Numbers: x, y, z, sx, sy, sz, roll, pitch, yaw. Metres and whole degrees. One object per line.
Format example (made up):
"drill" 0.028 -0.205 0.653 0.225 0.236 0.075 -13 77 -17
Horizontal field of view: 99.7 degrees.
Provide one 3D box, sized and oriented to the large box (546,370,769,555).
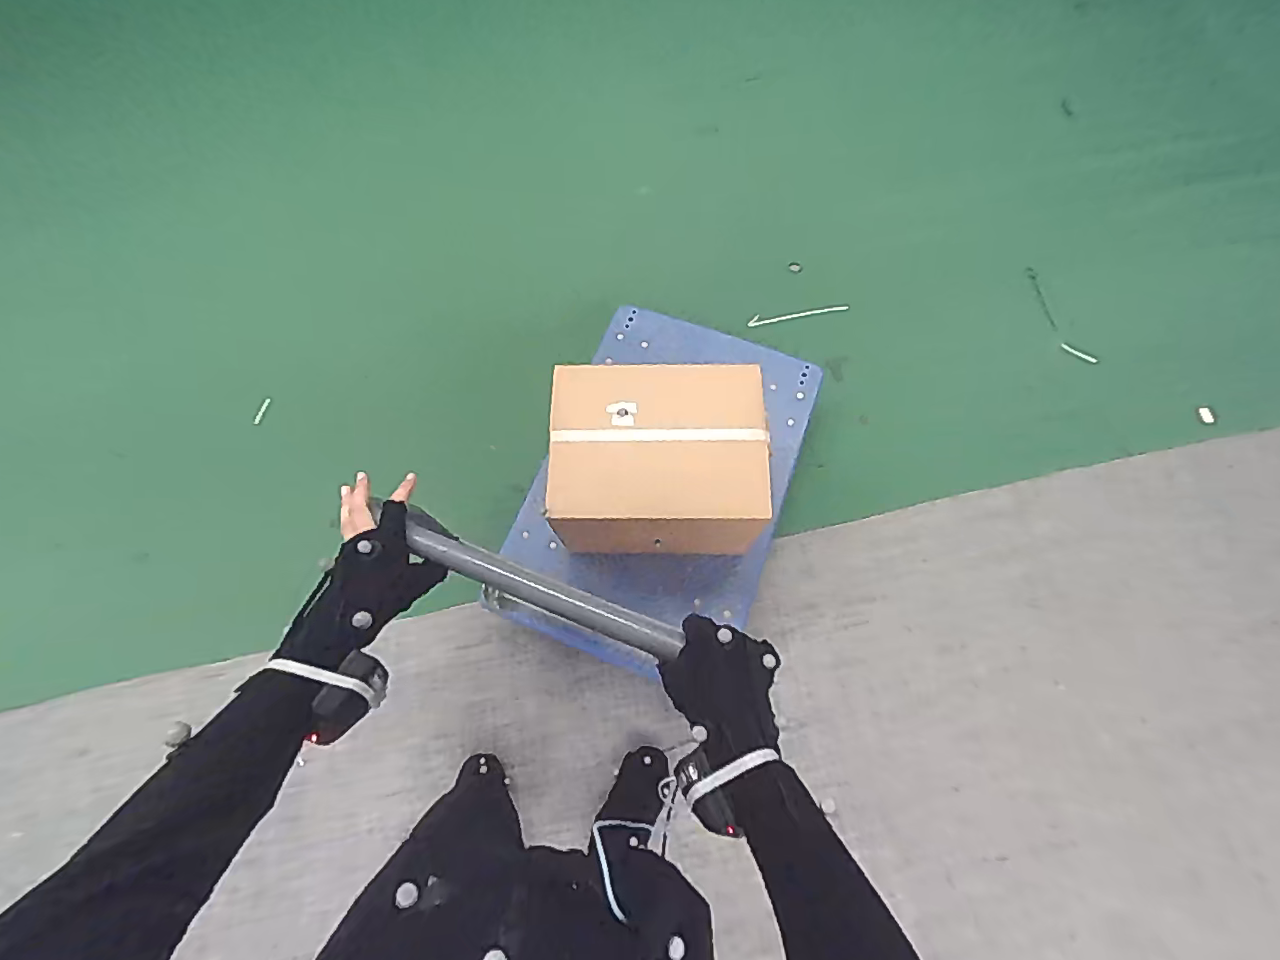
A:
"large box" 0.037 -0.018 1.146 0.408 0.320 0.320 0 70 2
